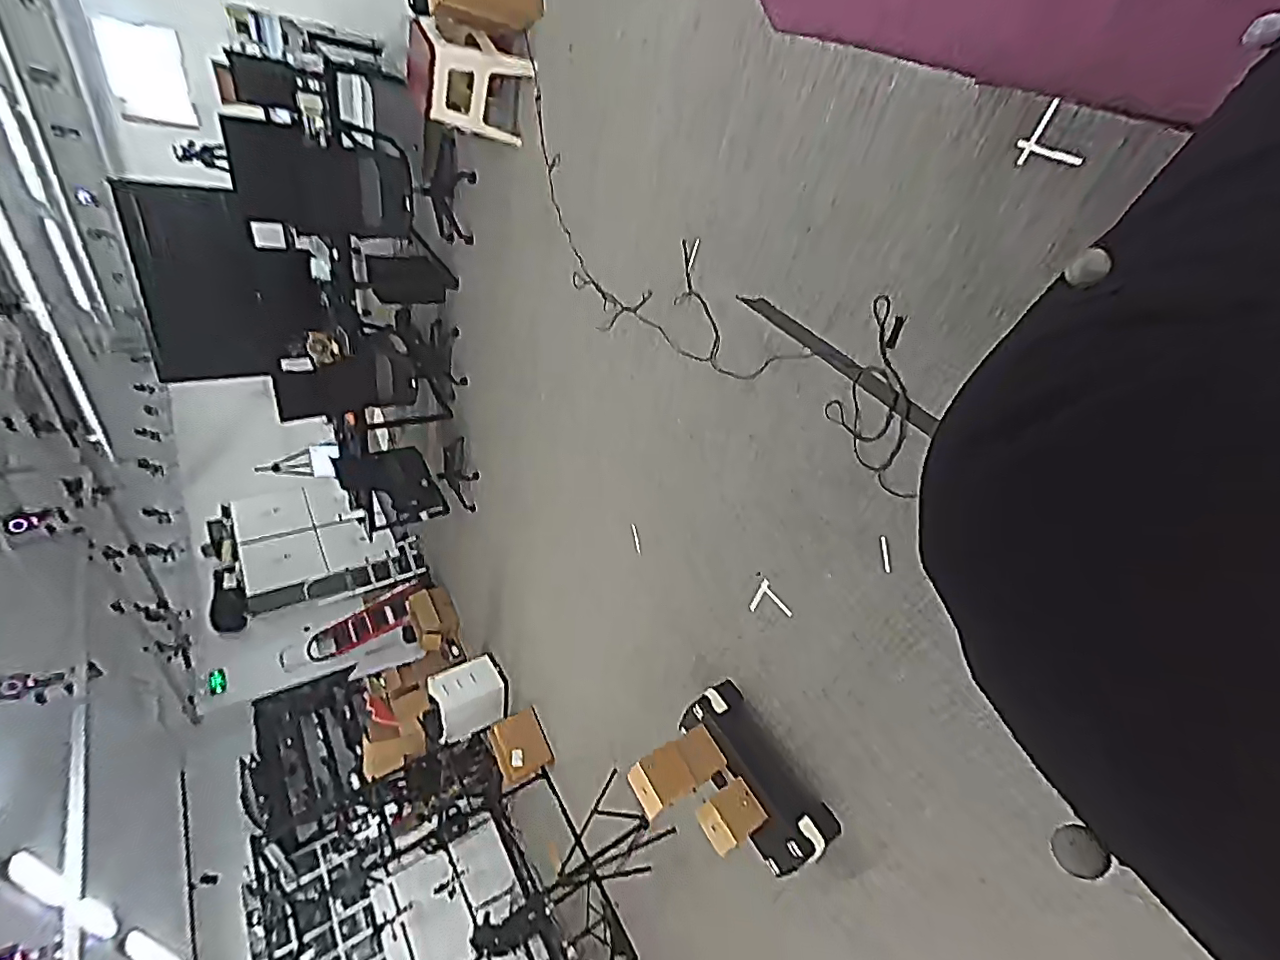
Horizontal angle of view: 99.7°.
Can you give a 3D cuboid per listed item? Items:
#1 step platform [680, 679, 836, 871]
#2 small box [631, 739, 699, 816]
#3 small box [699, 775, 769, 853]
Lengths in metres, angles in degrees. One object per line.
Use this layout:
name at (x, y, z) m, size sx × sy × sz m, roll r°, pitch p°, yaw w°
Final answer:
step platform at (0.444, 1.173, 2.183) m, size 0.684 × 0.204 × 0.286 m, roll 48°, pitch 138°, yaw 33°
small box at (0.096, 1.133, 2.065) m, size 0.179 × 0.176 × 0.168 m, roll 52°, pitch 140°, yaw 31°
small box at (0.355, 1.251, 2.031) m, size 0.168 × 0.176 × 0.179 m, roll 50°, pitch 139°, yaw 32°
